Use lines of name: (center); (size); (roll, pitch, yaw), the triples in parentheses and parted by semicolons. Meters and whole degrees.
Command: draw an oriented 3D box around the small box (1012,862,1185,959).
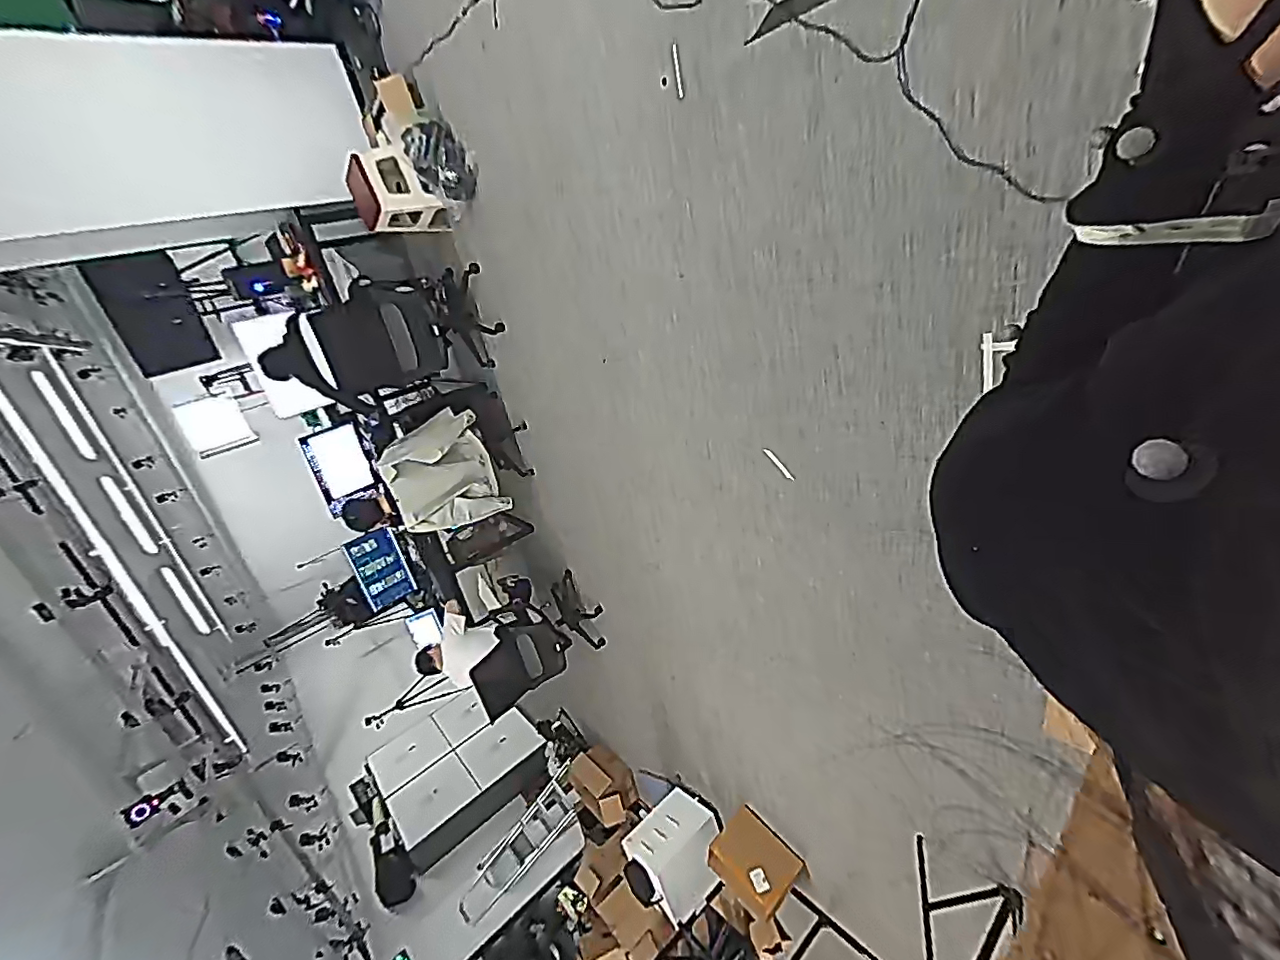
small box: (0.661, 0.723, 0.795); (0.168, 0.176, 0.179); (18, 127, 48)

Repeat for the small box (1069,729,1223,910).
small box: (0.907, 0.598, 0.973); (0.168, 0.176, 0.179); (15, 124, 49)
